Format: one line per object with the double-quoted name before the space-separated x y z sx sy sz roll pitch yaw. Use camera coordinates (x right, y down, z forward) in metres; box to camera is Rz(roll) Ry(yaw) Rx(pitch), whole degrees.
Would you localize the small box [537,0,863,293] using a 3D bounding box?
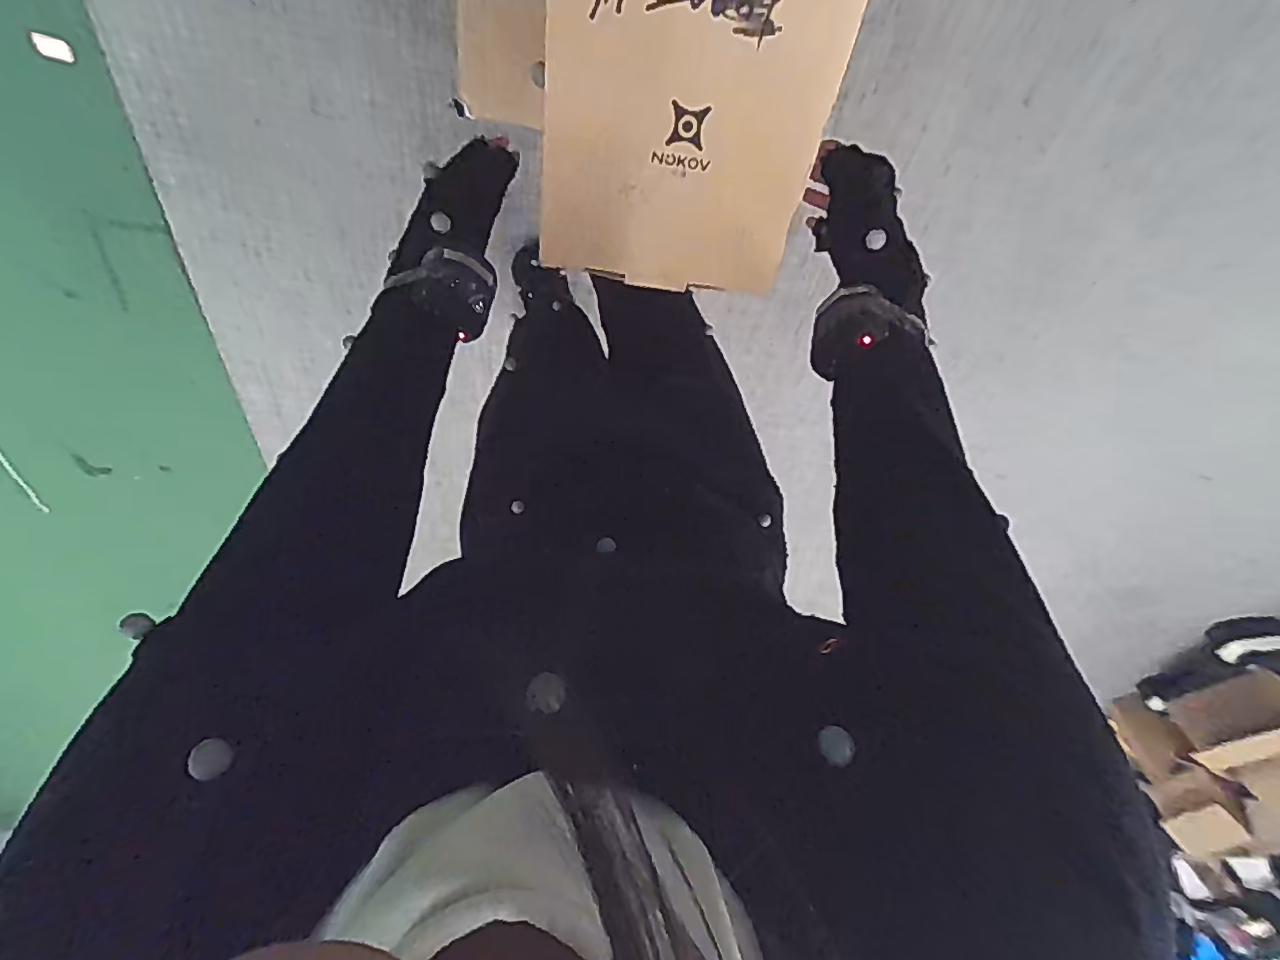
"small box" 0.021 -0.260 0.377 0.168 0.176 0.179 4 136 -7
